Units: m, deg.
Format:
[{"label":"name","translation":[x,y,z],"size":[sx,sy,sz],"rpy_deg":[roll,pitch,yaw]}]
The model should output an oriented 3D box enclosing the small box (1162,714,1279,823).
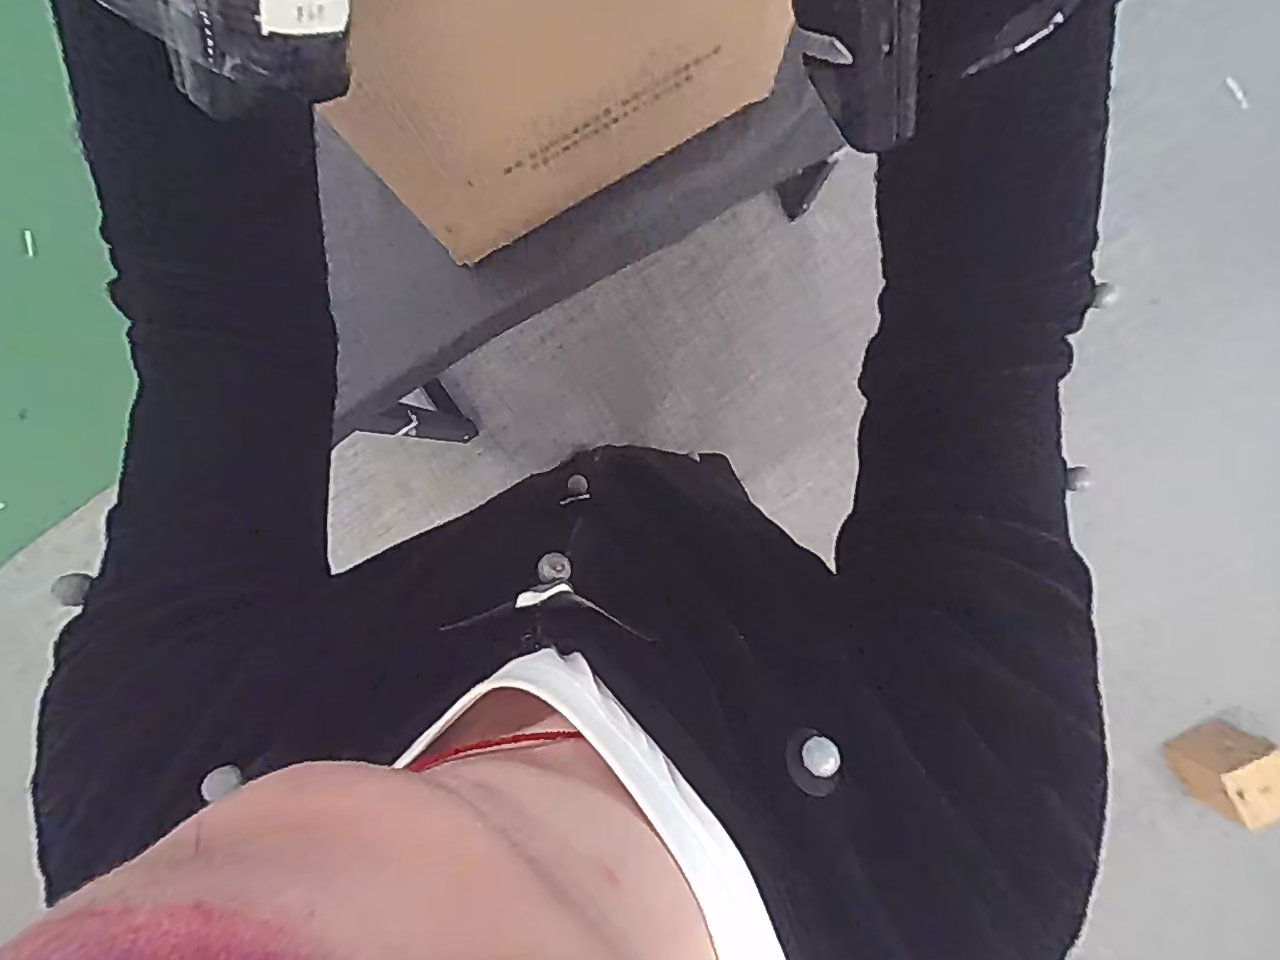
[{"label":"small box","translation":[1.613,0.778,1.481],"size":[0.179,0.176,0.168],"rpy_deg":[-28,92,1]}]
